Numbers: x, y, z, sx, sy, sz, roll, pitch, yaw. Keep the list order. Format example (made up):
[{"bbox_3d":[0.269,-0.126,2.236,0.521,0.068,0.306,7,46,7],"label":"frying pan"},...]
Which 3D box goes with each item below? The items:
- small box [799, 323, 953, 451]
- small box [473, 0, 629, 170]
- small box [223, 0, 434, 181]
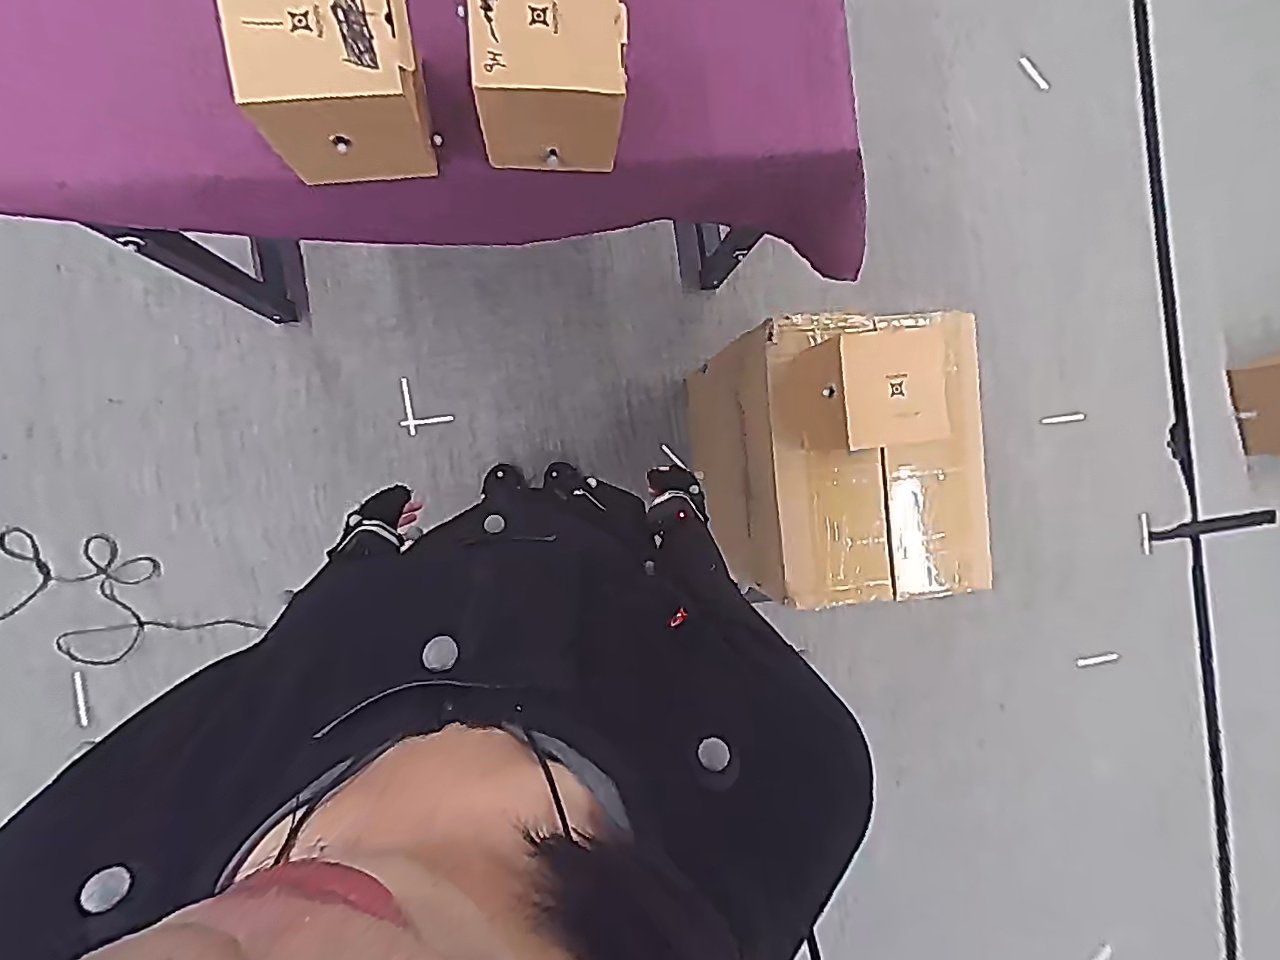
[{"bbox_3d":[0.372,-0.143,0.879,0.168,0.176,0.179,-7,93,-6],"label":"small box"},{"bbox_3d":[-0.115,-0.527,0.696,0.179,0.176,0.168,-3,91,-9],"label":"small box"},{"bbox_3d":[-0.361,-0.492,0.659,0.179,0.176,0.168,-8,91,-7],"label":"small box"}]
